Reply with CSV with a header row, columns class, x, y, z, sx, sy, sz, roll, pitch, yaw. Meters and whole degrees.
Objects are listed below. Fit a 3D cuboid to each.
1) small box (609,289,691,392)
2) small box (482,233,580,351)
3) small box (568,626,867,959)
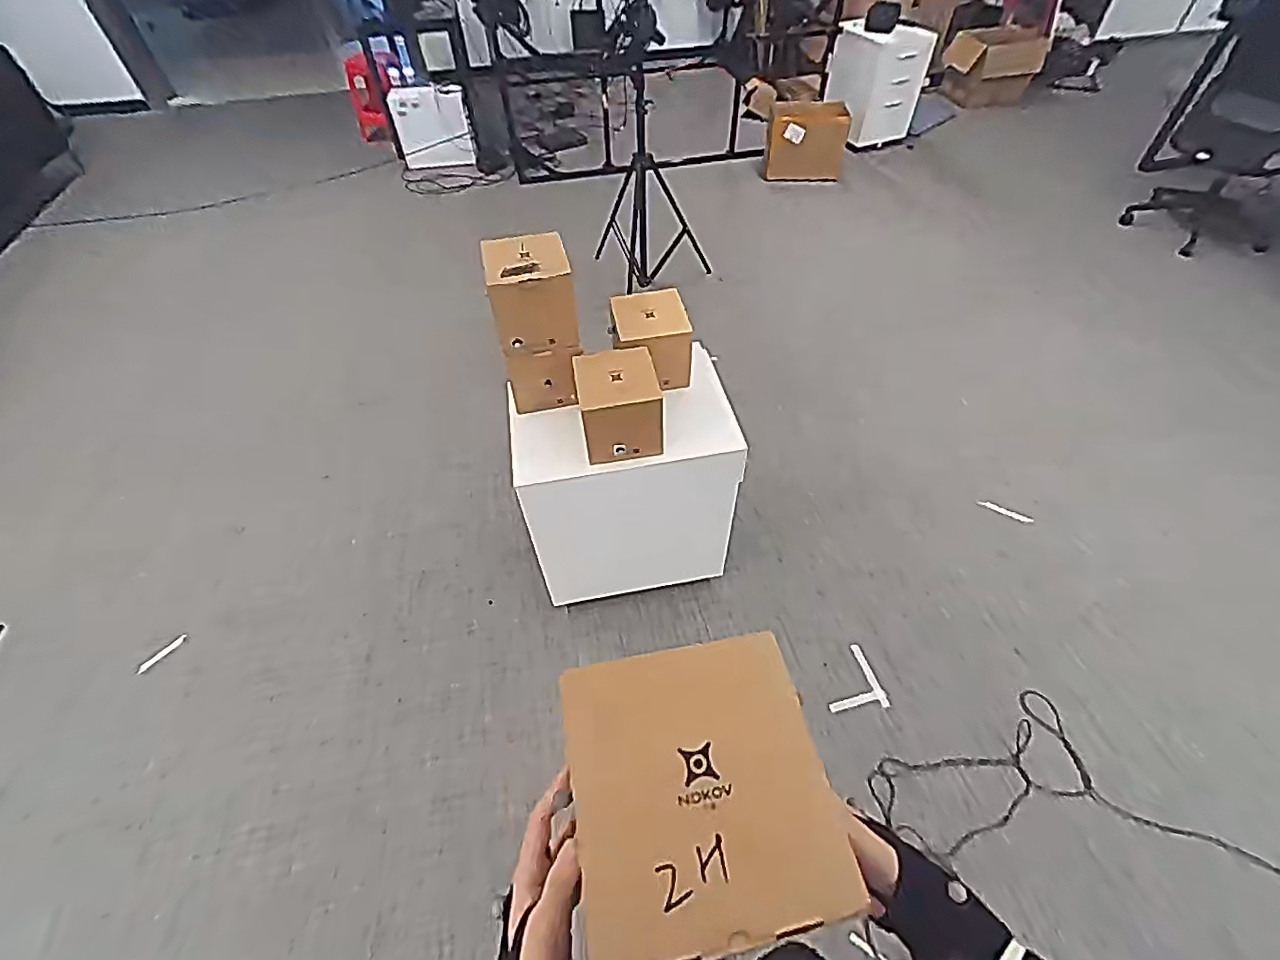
class,x,y,z,sx,sy,sz,roll,pitch,yaw
small box,0.025,-0.328,1.300,0.168,0.176,0.179,-10,52,-5
small box,-0.228,-0.391,1.145,0.168,0.176,0.179,-12,52,-8
small box,0.037,0.238,0.422,0.168,0.176,0.179,-8,55,-8
